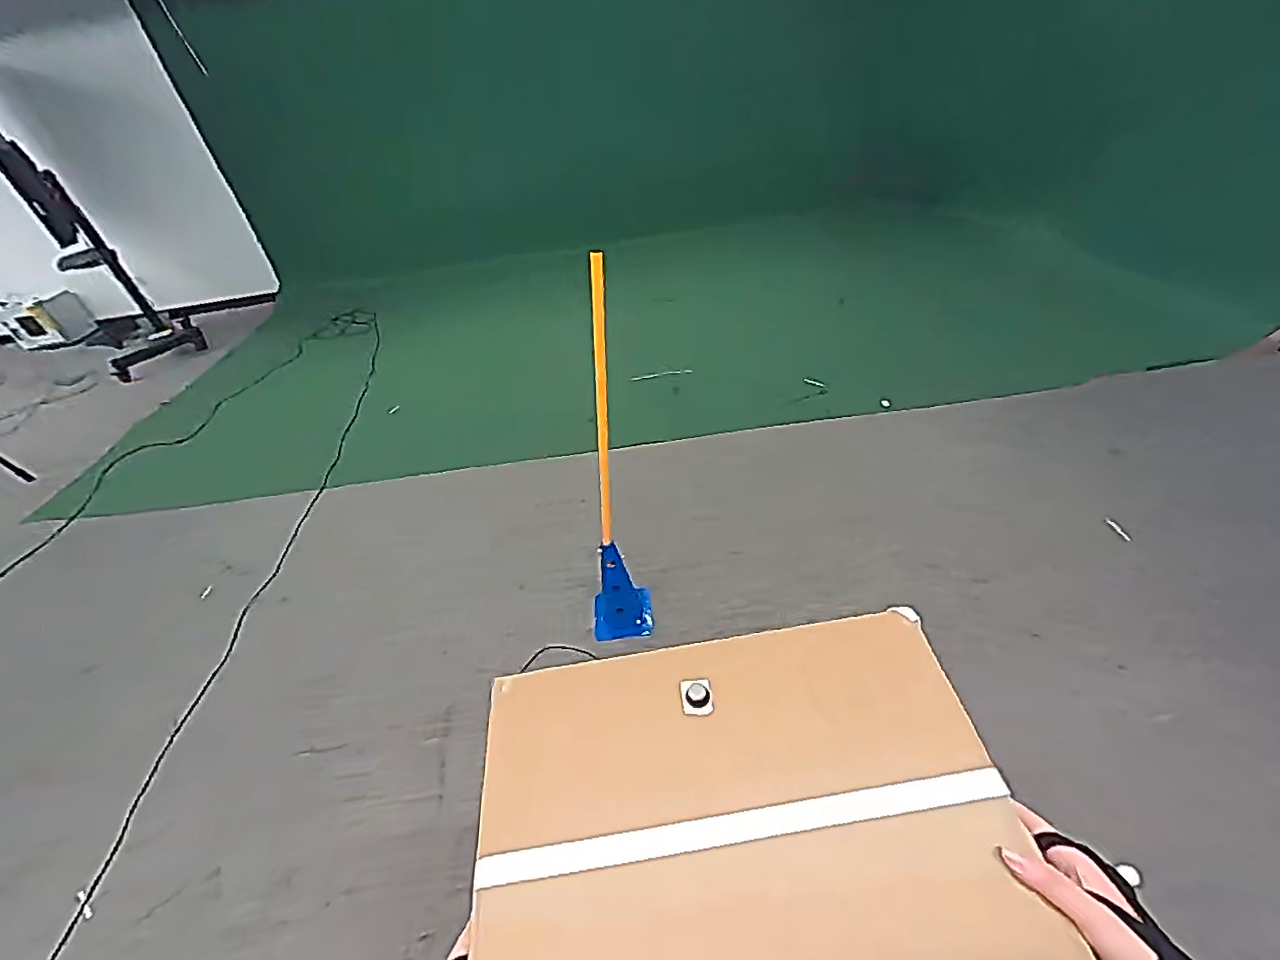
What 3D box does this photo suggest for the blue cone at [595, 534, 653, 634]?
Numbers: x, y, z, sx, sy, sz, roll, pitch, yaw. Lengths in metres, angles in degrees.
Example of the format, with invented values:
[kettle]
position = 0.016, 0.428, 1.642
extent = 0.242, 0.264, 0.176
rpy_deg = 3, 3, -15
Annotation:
[blue cone]
position = -0.075, 0.311, 1.750
extent = 0.193, 0.380, 0.192
rpy_deg = -8, 40, -1
